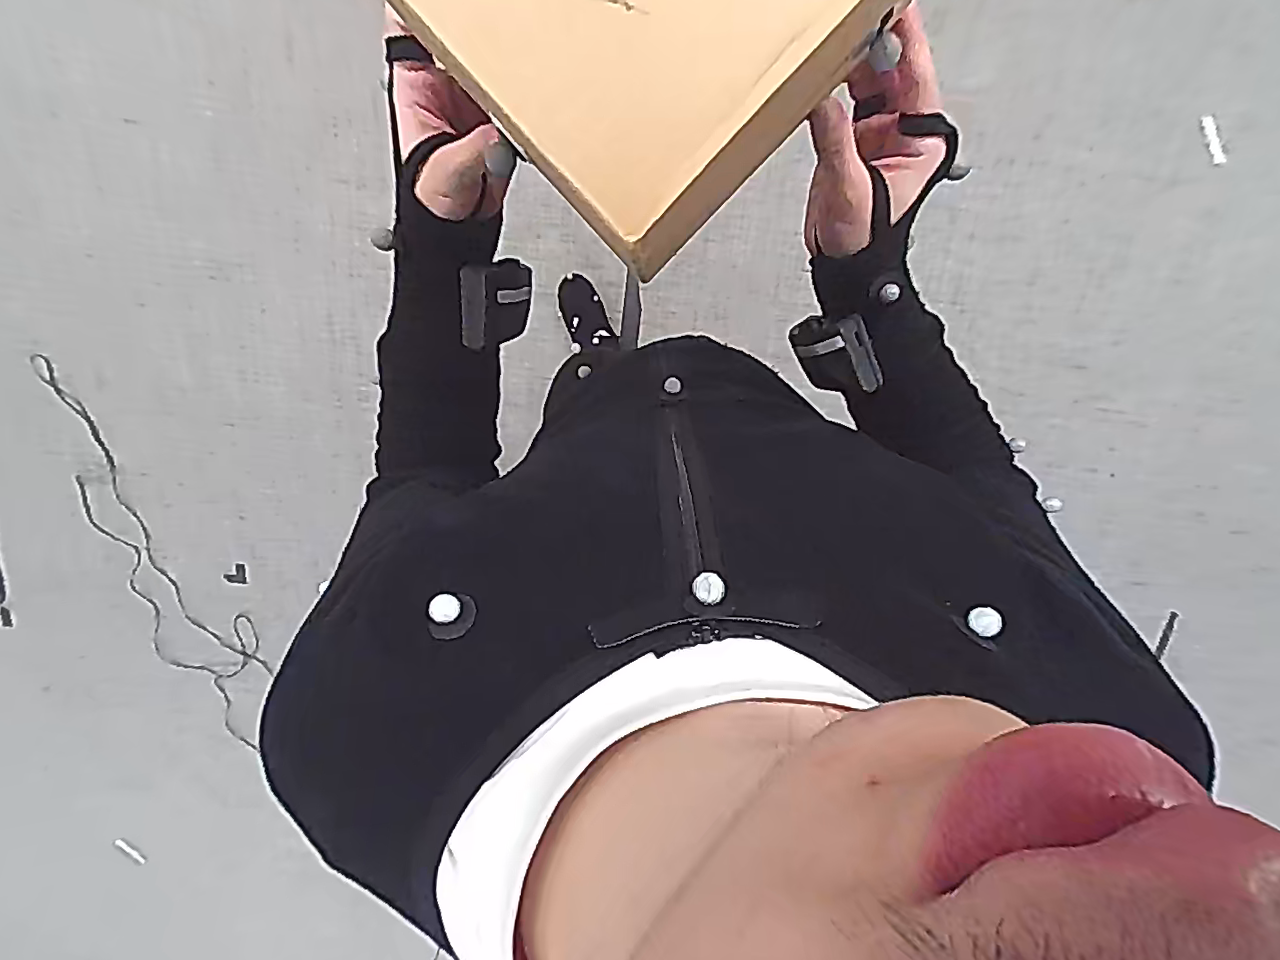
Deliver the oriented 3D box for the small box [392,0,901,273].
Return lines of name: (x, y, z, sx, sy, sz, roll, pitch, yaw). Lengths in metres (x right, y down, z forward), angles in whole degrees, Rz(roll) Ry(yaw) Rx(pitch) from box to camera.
small box: (0.004, -0.215, 0.229, 0.179, 0.176, 0.168, -43, 99, 13)
